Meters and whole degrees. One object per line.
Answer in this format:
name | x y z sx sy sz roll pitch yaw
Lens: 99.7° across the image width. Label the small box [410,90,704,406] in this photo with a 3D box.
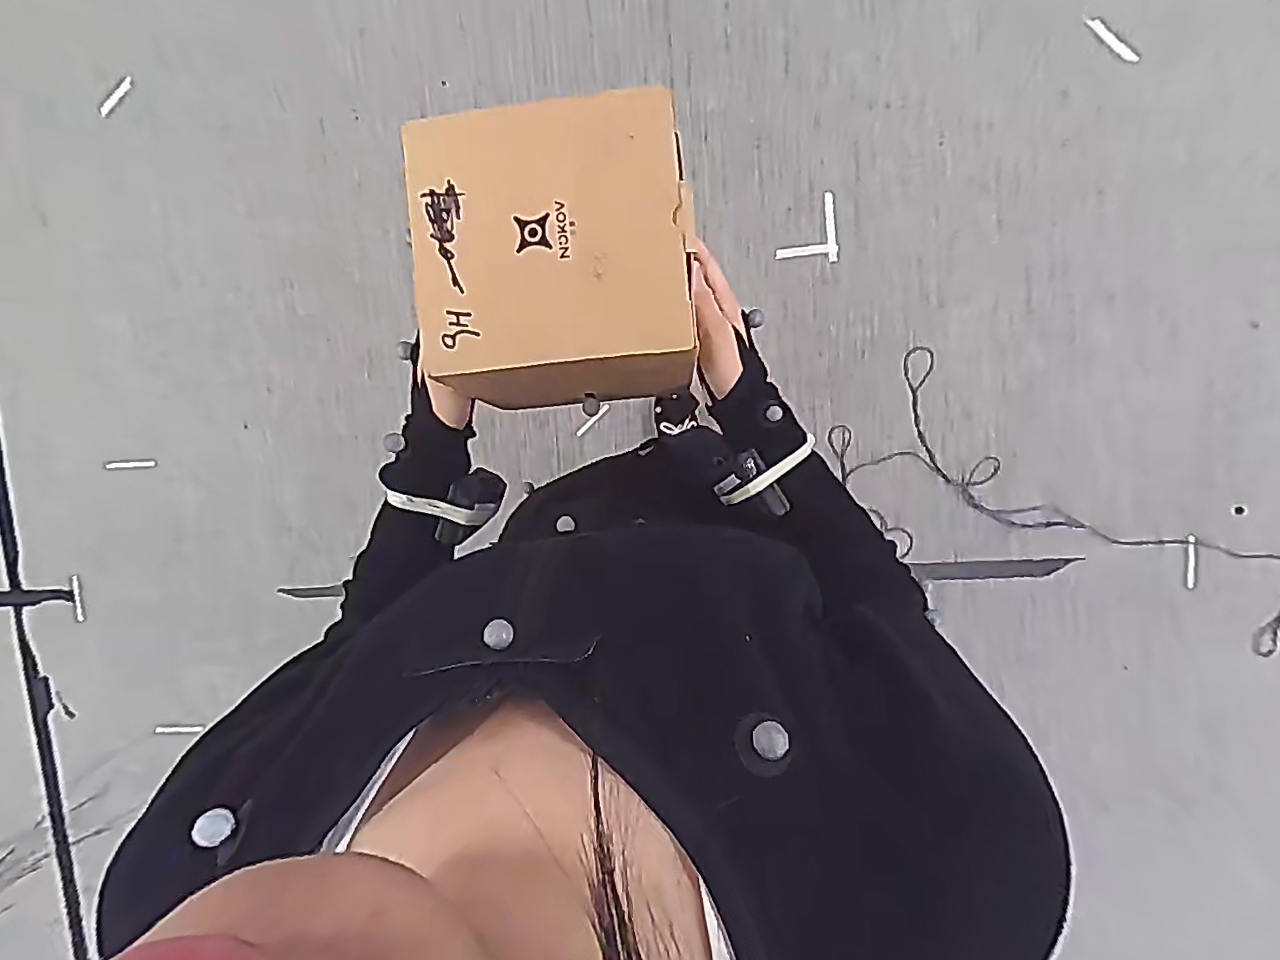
small box | -0.050 -0.155 0.418 0.179 0.176 0.168 -5 89 2
